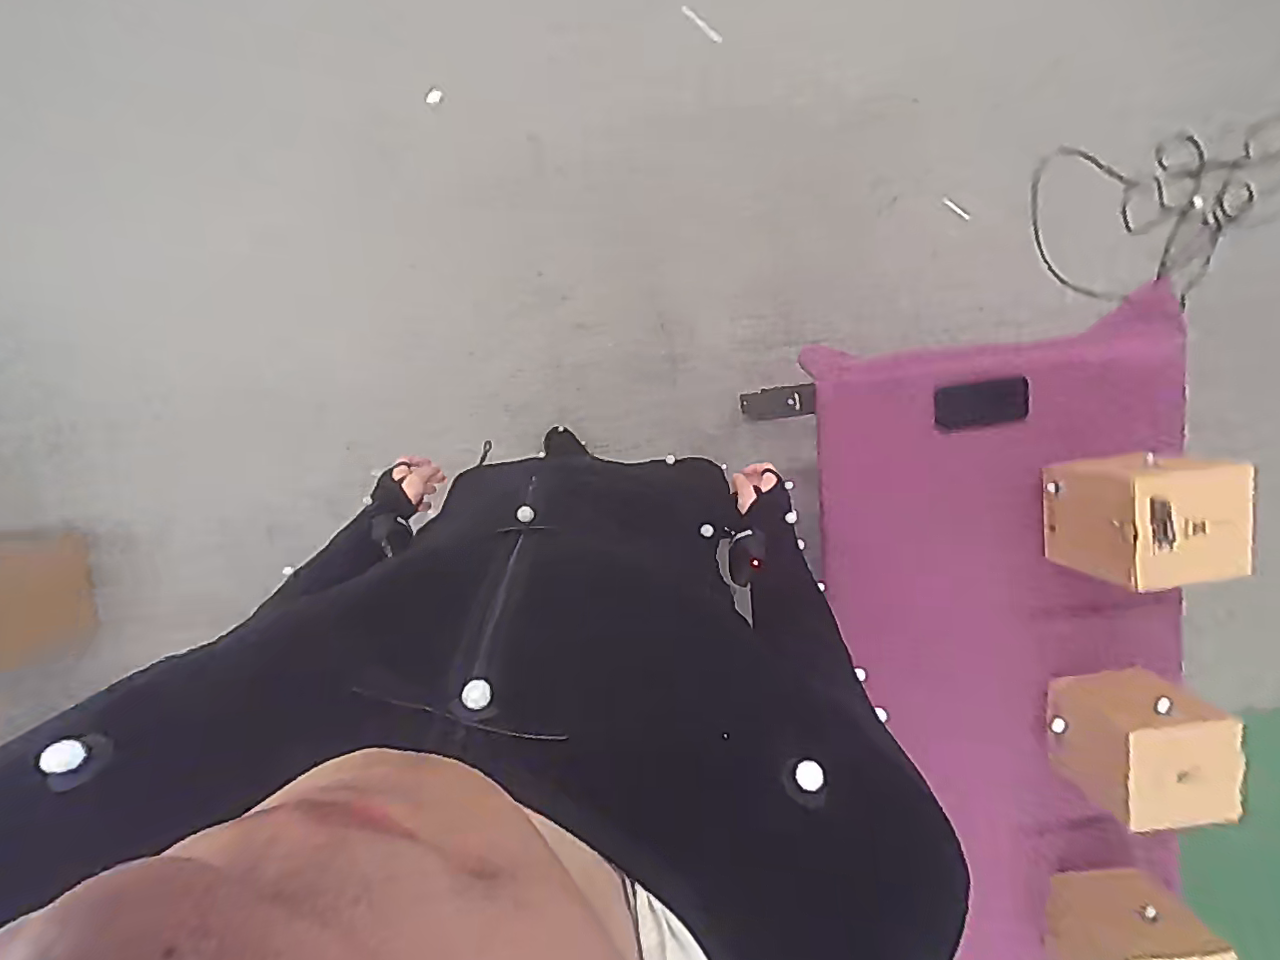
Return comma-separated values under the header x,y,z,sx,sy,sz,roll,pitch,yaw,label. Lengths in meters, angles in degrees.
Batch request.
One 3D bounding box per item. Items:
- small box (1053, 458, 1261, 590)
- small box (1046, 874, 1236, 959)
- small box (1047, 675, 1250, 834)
x,y,z,sx,sy,sz,roll,pitch,yaw,label
0.780,0.059,0.835,0.179,0.176,0.168,-7,97,-1,small box
0.855,0.824,0.937,0.179,0.176,0.168,-5,96,-1,small box
0.820,0.438,0.888,0.179,0.176,0.168,-5,97,0,small box
